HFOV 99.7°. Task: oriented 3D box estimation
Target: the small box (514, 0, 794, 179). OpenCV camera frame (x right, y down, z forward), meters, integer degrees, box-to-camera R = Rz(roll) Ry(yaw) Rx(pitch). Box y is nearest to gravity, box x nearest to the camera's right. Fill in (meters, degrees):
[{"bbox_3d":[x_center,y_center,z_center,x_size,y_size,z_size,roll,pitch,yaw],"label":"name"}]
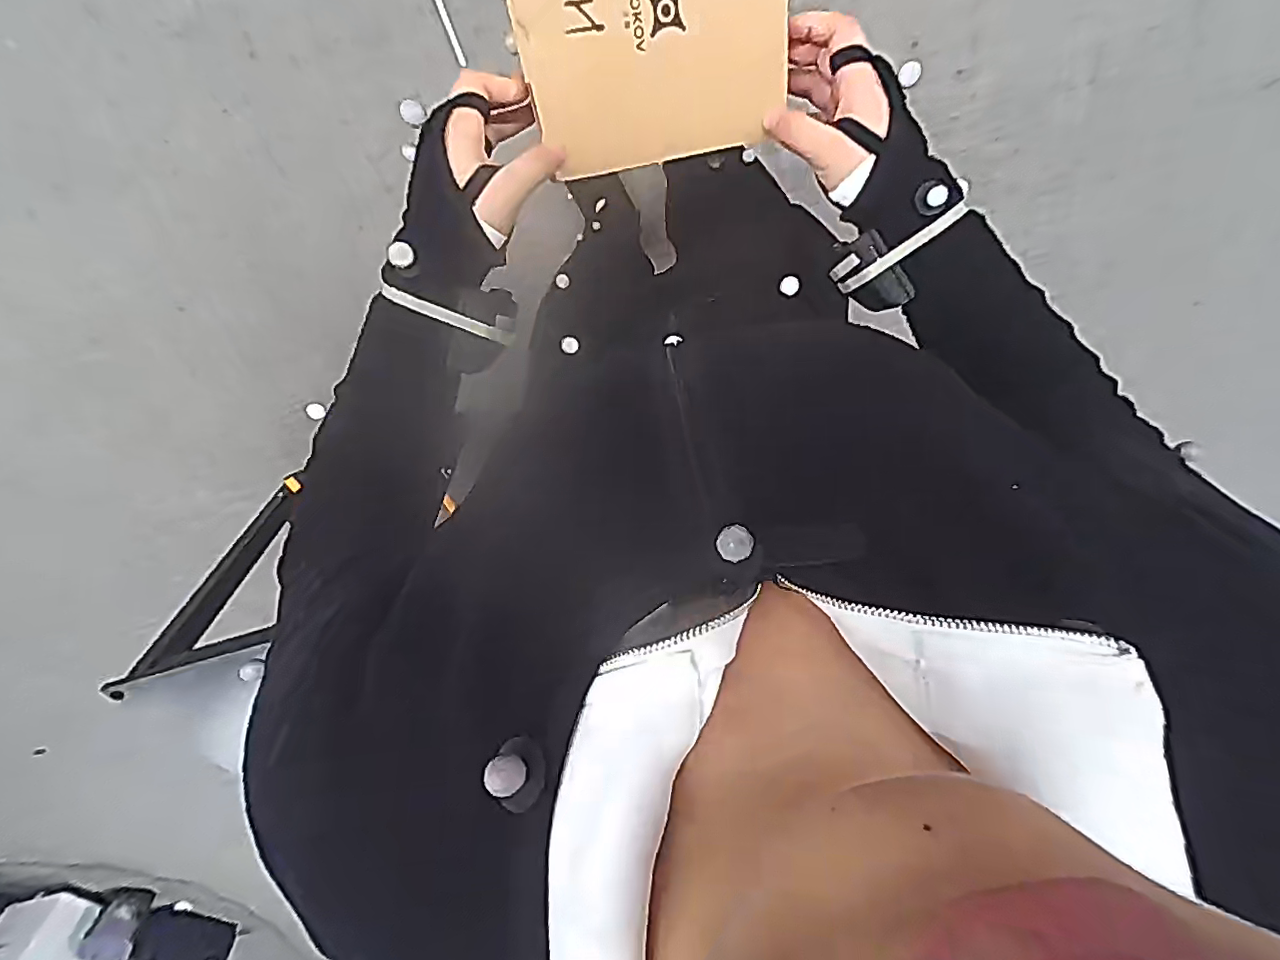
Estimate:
[{"bbox_3d":[0.002,-0.343,0.398,0.179,0.176,0.168,-11,129,1],"label":"small box"}]
